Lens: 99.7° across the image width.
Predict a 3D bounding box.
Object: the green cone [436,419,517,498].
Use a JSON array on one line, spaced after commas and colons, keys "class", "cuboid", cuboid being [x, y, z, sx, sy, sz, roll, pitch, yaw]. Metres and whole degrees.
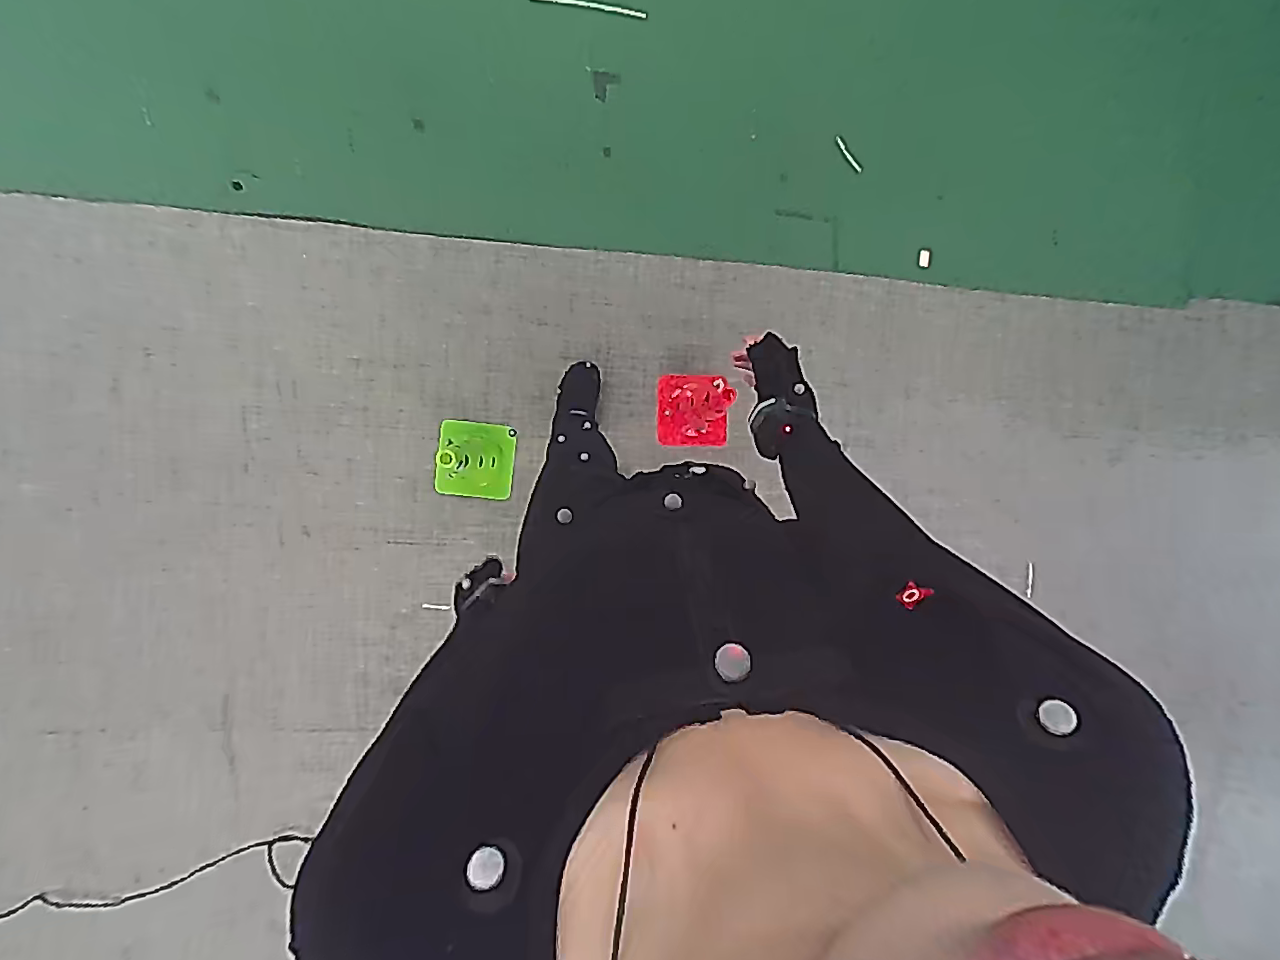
[{"class": "green cone", "cuboid": [-0.418, -0.049, 1.274, 0.200, 0.368, 0.202, 5, 92, -7]}]
